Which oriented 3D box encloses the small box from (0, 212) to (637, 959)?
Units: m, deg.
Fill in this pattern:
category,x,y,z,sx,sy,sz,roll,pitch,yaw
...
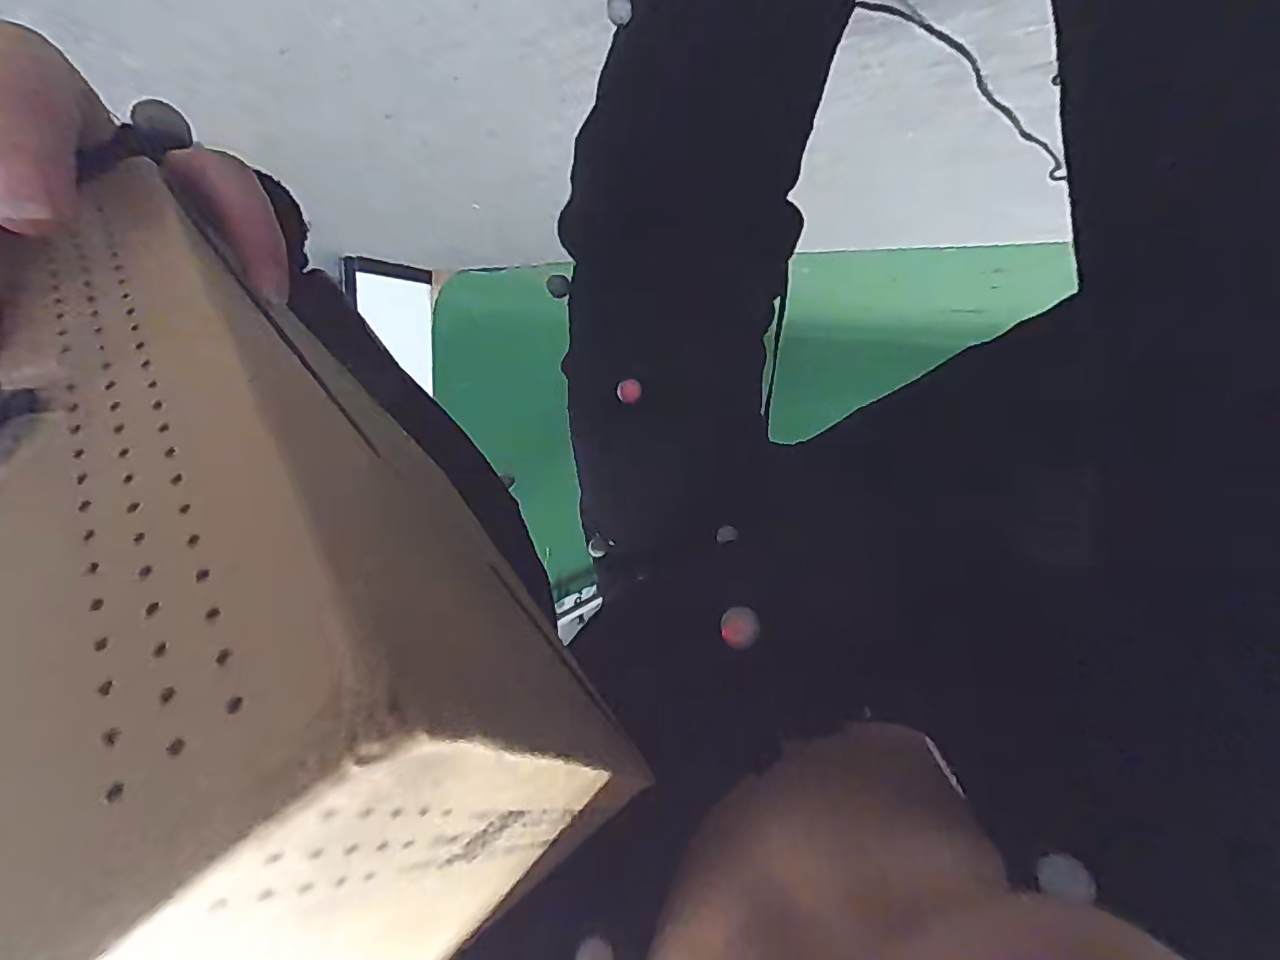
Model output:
category,x,y,z,sx,sy,sz,roll,pitch,yaw
small box,-0.125,0.056,0.158,0.176,0.168,0.179,-37,-121,-10
